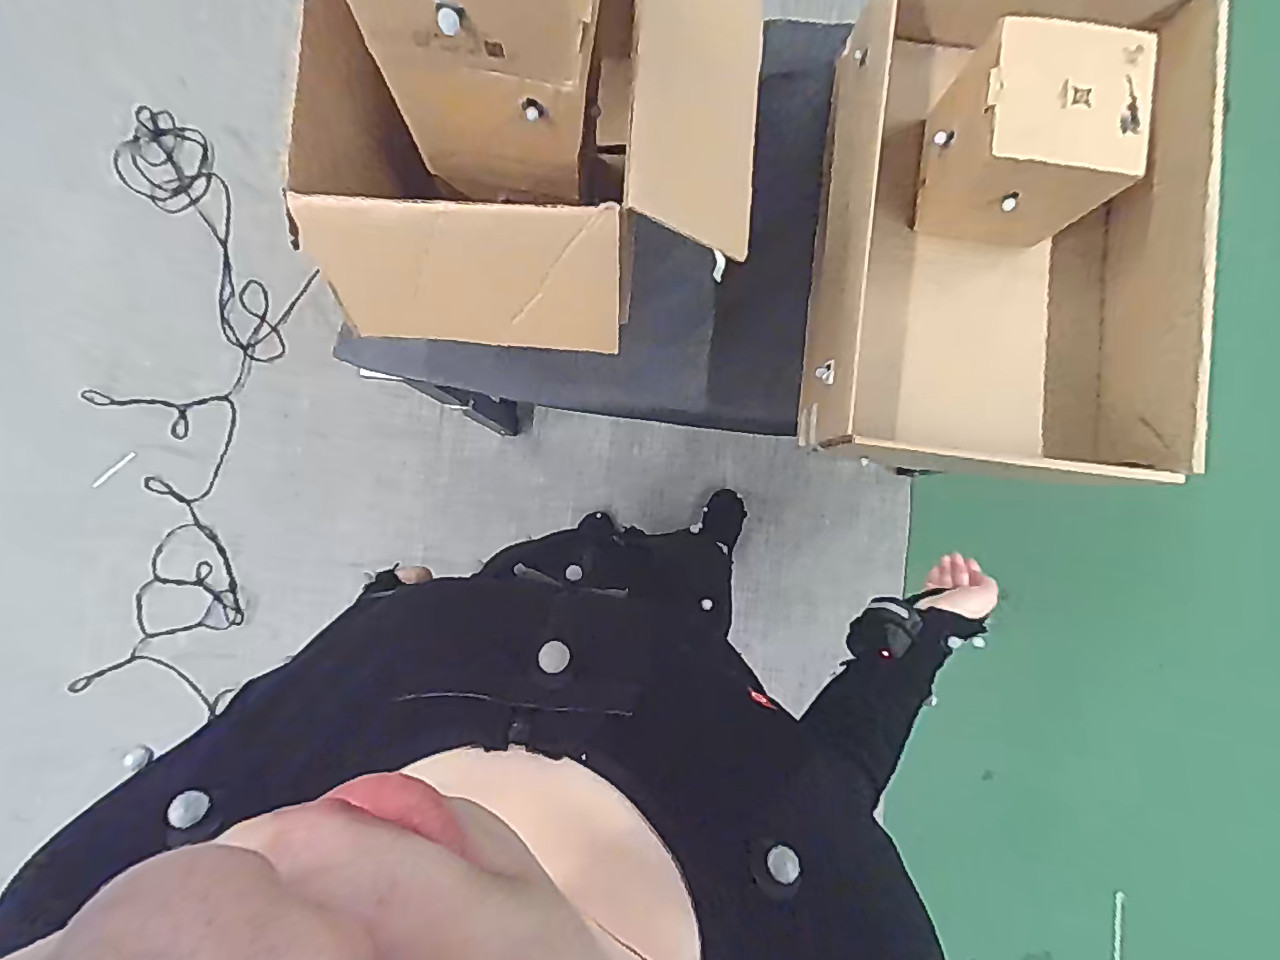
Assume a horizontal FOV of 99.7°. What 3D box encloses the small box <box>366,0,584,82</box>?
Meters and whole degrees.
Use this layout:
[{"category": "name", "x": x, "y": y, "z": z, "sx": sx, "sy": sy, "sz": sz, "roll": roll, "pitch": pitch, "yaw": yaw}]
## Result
[{"category": "small box", "x": -0.120, "y": -0.433, "z": 0.375, "sx": 0.168, "sy": 0.176, "sz": 0.179, "roll": 5, "pitch": 86, "yaw": -6}]
